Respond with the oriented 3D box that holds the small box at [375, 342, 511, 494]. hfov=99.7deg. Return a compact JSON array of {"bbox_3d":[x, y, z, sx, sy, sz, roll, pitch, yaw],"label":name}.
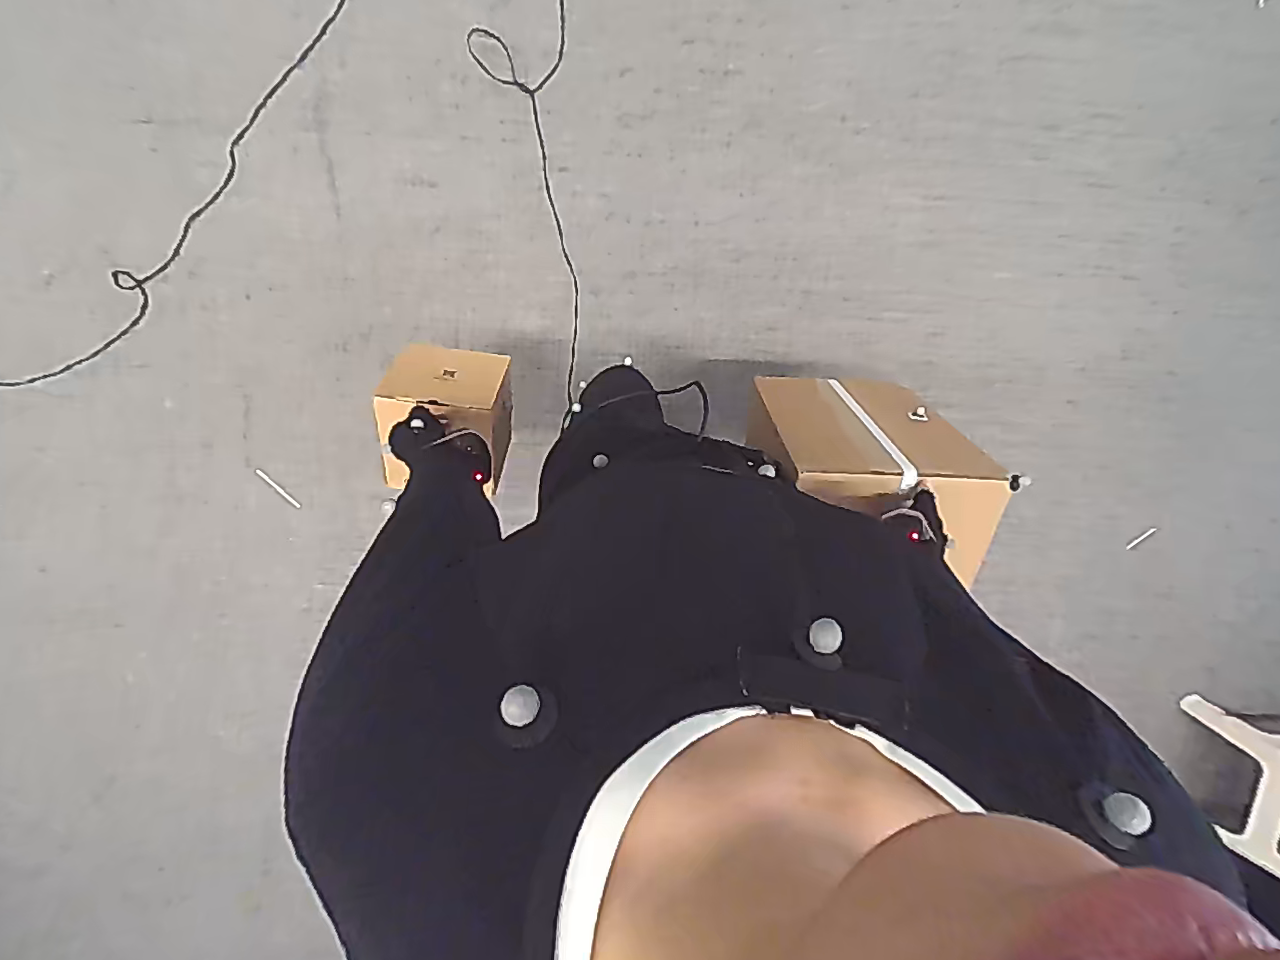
[{"bbox_3d":[-0.308,-0.101,0.881,0.168,0.179,0.176,6,129,-7],"label":"small box"}]
